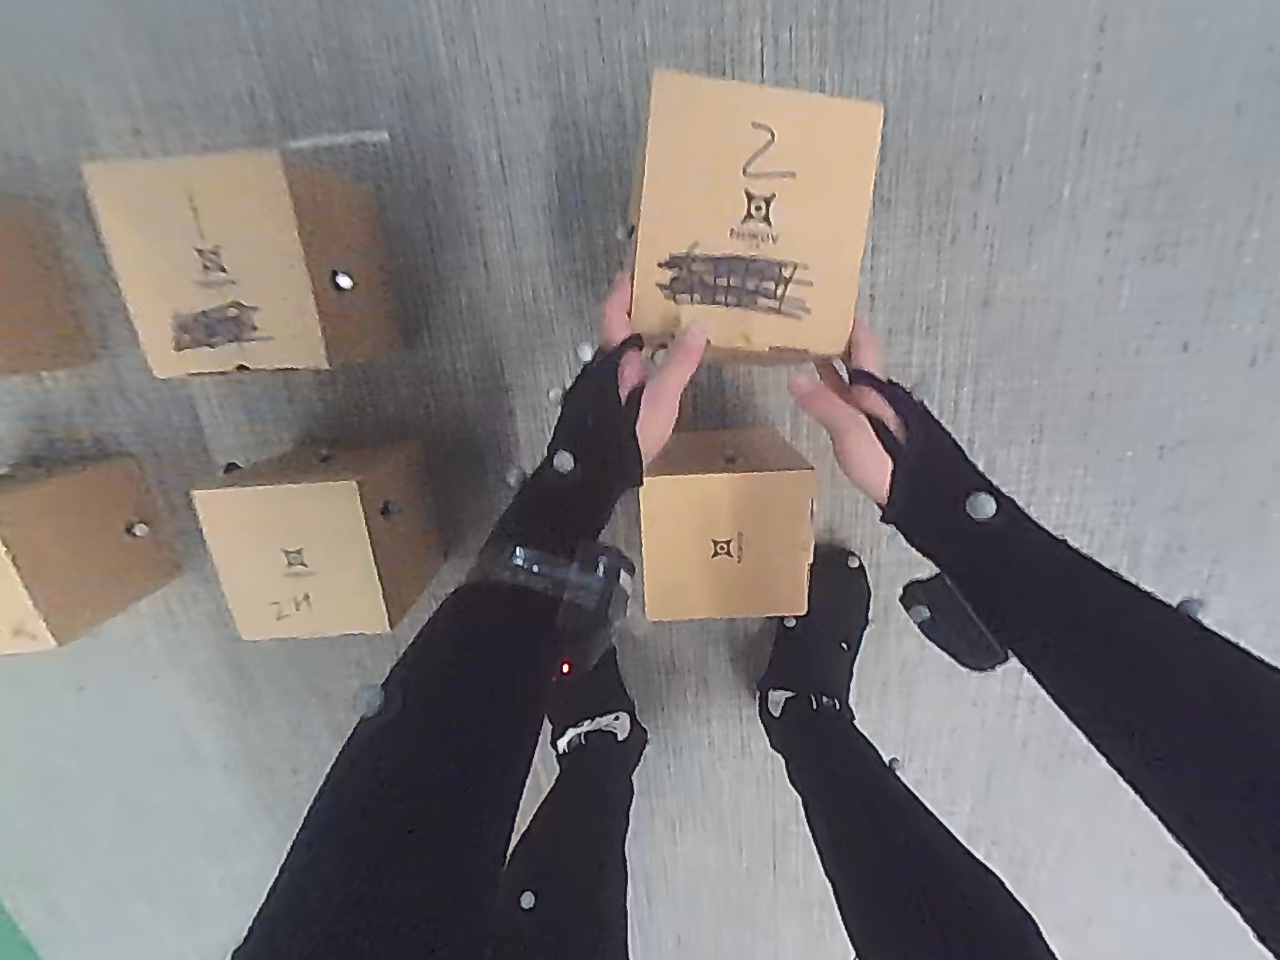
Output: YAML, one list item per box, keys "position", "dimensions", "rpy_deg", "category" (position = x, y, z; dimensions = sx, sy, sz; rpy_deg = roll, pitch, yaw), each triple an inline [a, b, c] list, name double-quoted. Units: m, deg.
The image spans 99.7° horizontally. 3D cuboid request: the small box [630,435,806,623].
- position: [0.081, 0.048, 0.633]
  dimensions: [0.179, 0.176, 0.168]
  rpy_deg: [-4, 109, 0]
  category: "small box"
